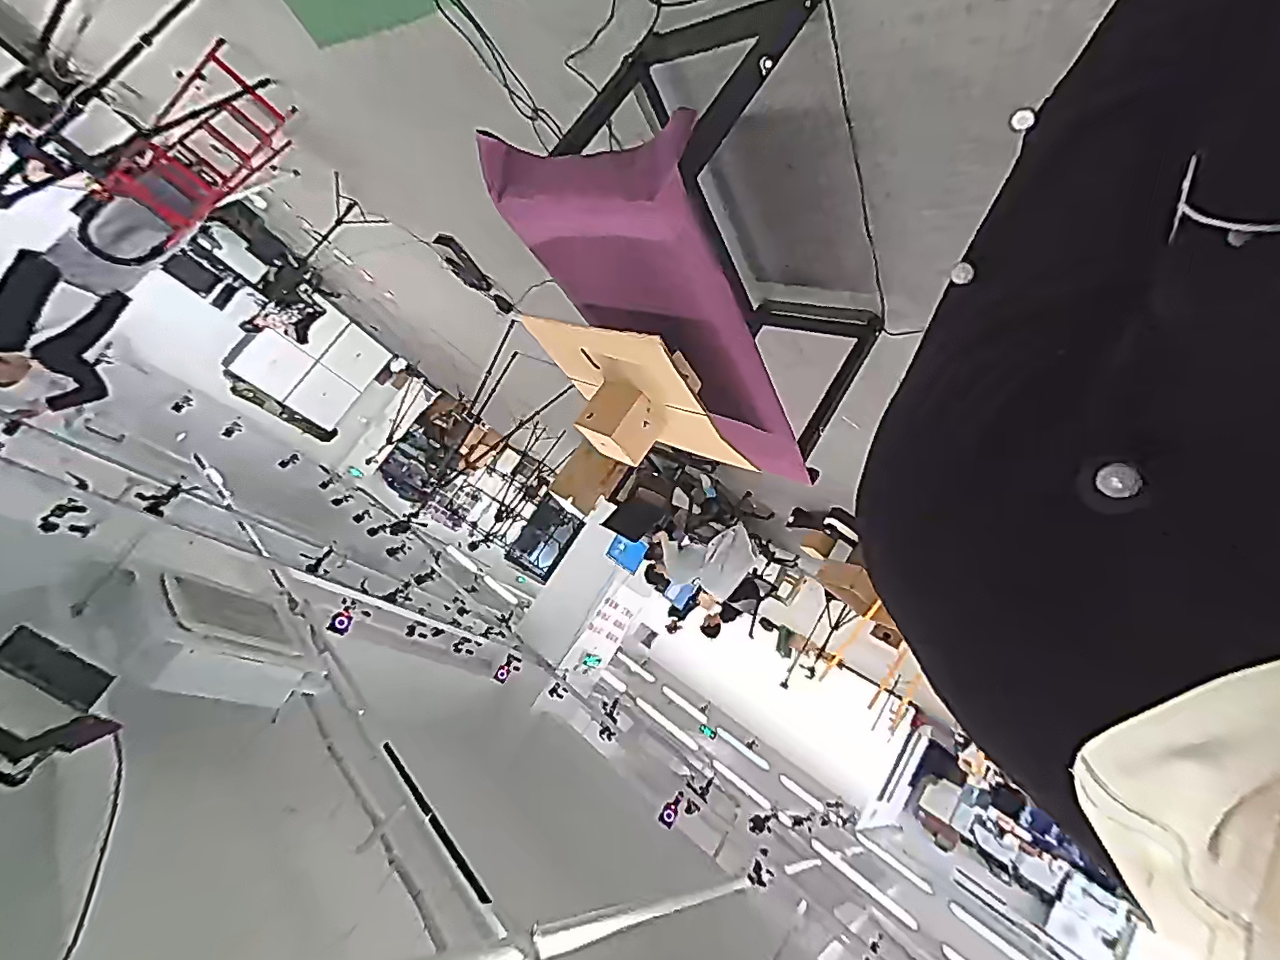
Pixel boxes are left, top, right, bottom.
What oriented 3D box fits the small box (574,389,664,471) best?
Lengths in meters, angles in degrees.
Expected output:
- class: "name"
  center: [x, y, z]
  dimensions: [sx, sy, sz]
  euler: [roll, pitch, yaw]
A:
- class: "small box"
  center: [-0.060, -0.158, 1.651]
  dimensions: [0.179, 0.176, 0.168]
  euler: [23, 163, 40]
